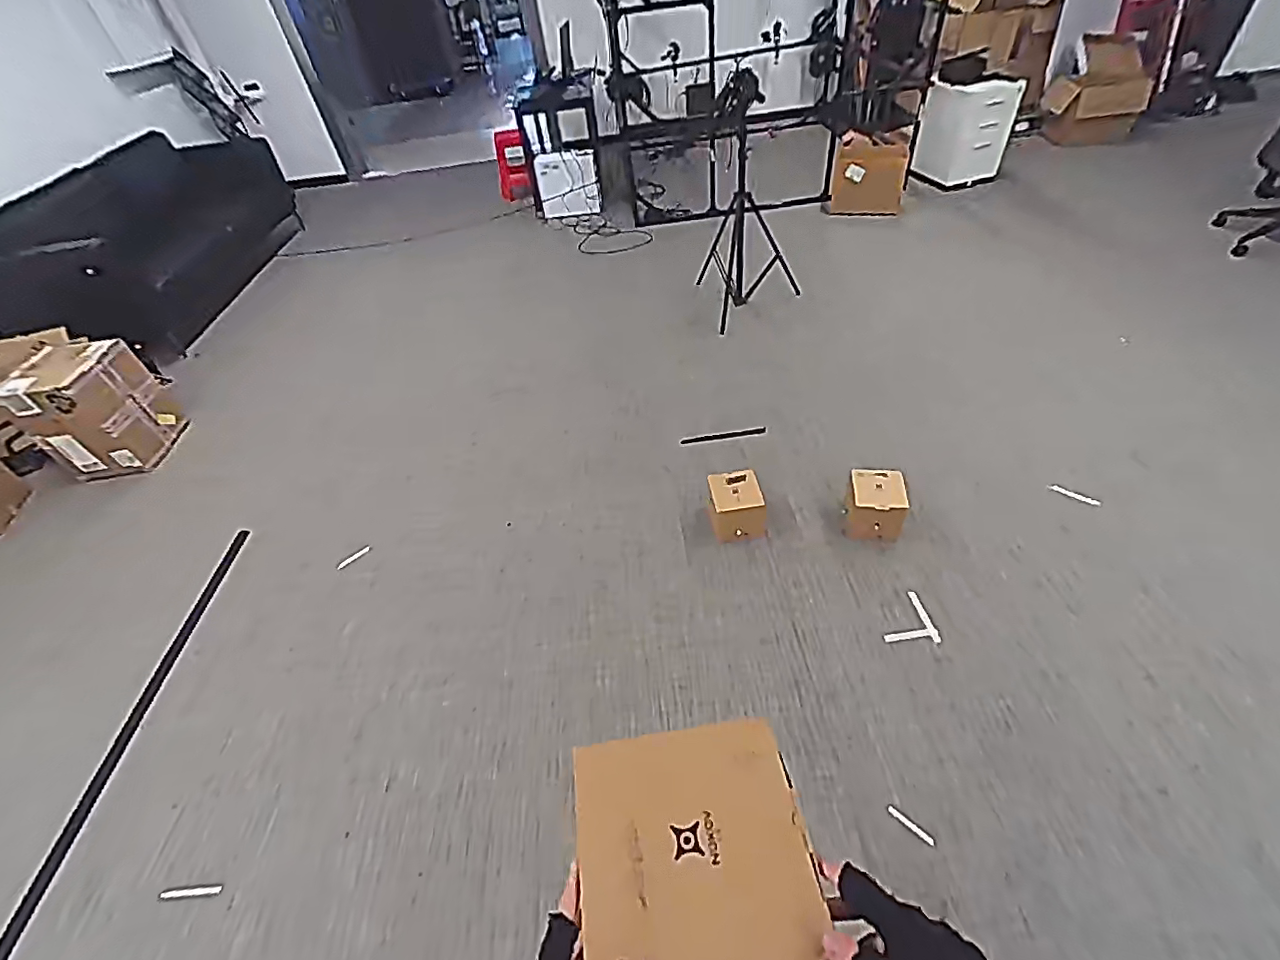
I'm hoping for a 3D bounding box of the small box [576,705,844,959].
[{"bbox_3d":[0.045,0.320,0.464,0.179,0.176,0.168,-8,43,-4],"label":"small box"}]

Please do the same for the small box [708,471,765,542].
[{"bbox_3d":[0.334,0.094,1.906,0.168,0.176,0.179,-9,46,0],"label":"small box"}]

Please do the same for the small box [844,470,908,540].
[{"bbox_3d":[0.799,0.087,1.844,0.168,0.176,0.179,3,47,11],"label":"small box"}]
